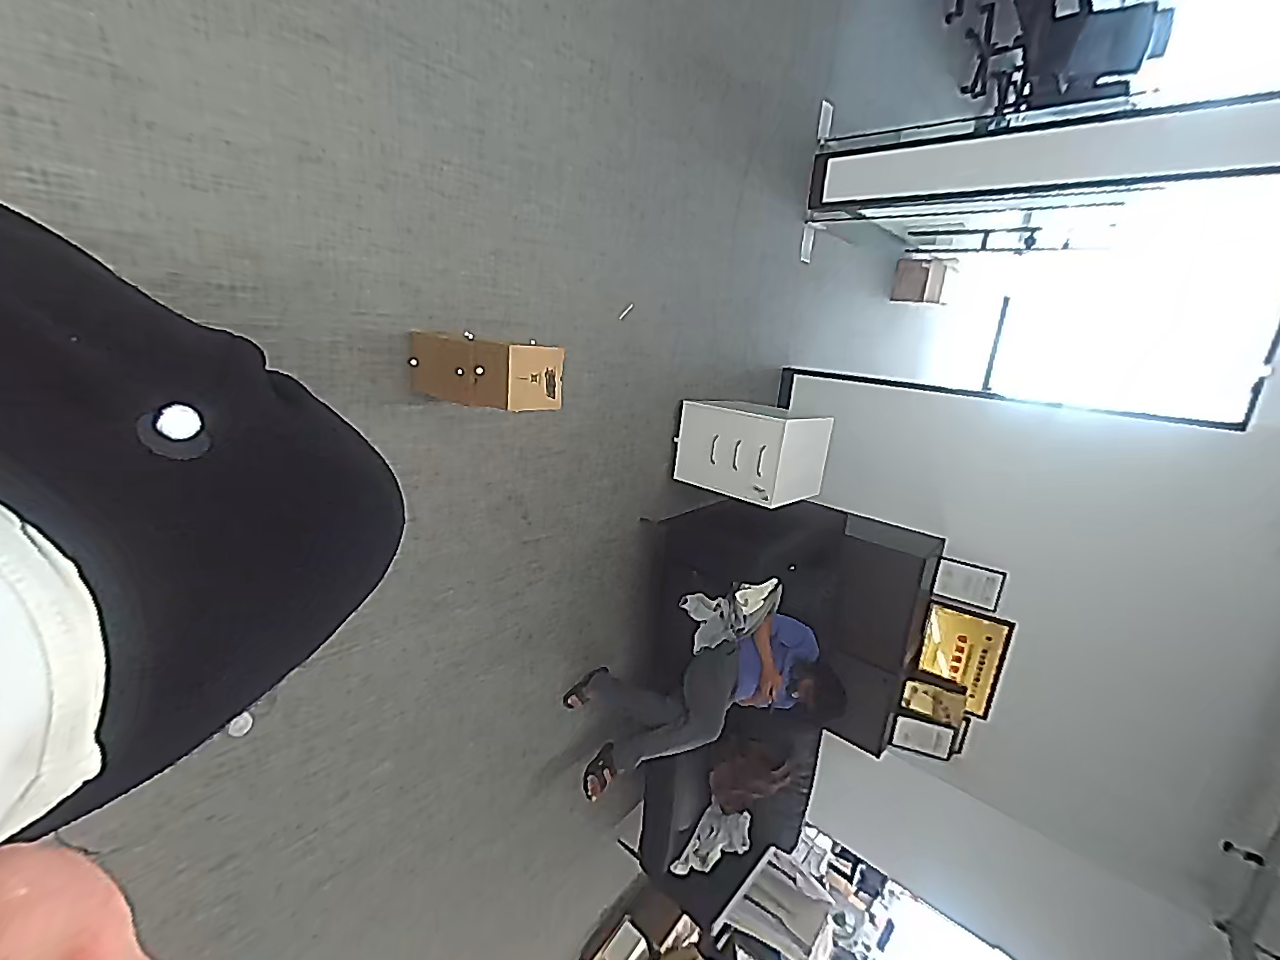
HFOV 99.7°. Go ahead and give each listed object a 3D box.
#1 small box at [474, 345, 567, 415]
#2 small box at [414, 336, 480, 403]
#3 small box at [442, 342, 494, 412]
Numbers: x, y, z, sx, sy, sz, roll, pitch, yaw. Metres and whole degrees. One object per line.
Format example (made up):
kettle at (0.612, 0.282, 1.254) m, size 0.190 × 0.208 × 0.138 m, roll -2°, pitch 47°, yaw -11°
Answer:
small box at (-0.316, -0.268, 1.435) m, size 0.179 × 0.176 × 0.168 m, roll -11°, pitch 111°, yaw -47°
small box at (-0.567, -0.334, 1.634) m, size 0.168 × 0.176 × 0.179 m, roll -12°, pitch 113°, yaw -49°
small box at (-0.446, -0.295, 1.532) m, size 0.168 × 0.176 × 0.179 m, roll -12°, pitch 114°, yaw -48°
